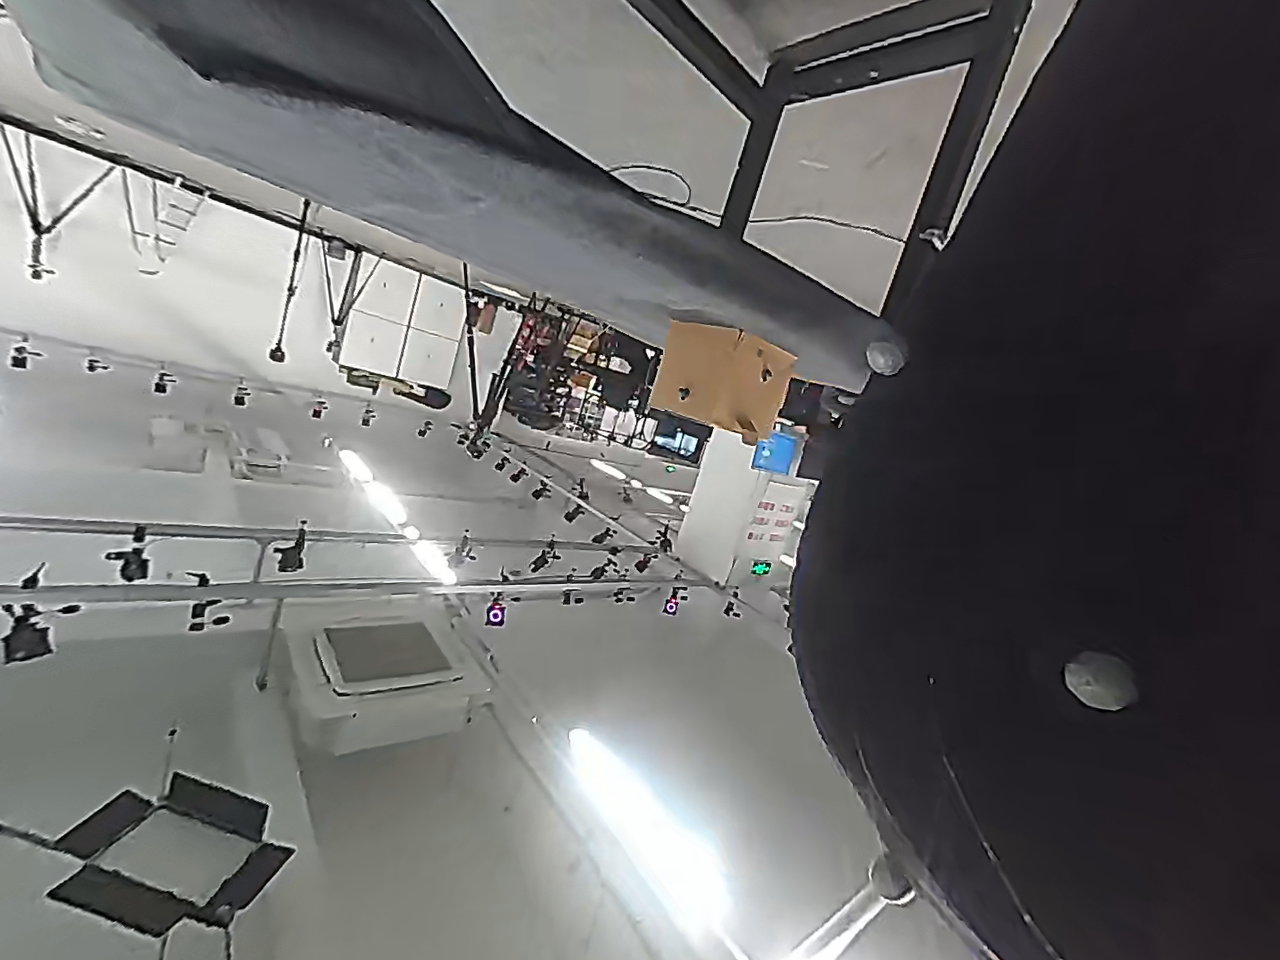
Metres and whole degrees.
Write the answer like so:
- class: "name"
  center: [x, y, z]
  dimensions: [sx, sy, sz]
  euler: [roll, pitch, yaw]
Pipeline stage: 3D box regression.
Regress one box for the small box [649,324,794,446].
- class: "small box"
  center: [0.150, -0.178, 0.992]
  dimensions: [0.168, 0.176, 0.179]
  euler: [10, -169, -40]
